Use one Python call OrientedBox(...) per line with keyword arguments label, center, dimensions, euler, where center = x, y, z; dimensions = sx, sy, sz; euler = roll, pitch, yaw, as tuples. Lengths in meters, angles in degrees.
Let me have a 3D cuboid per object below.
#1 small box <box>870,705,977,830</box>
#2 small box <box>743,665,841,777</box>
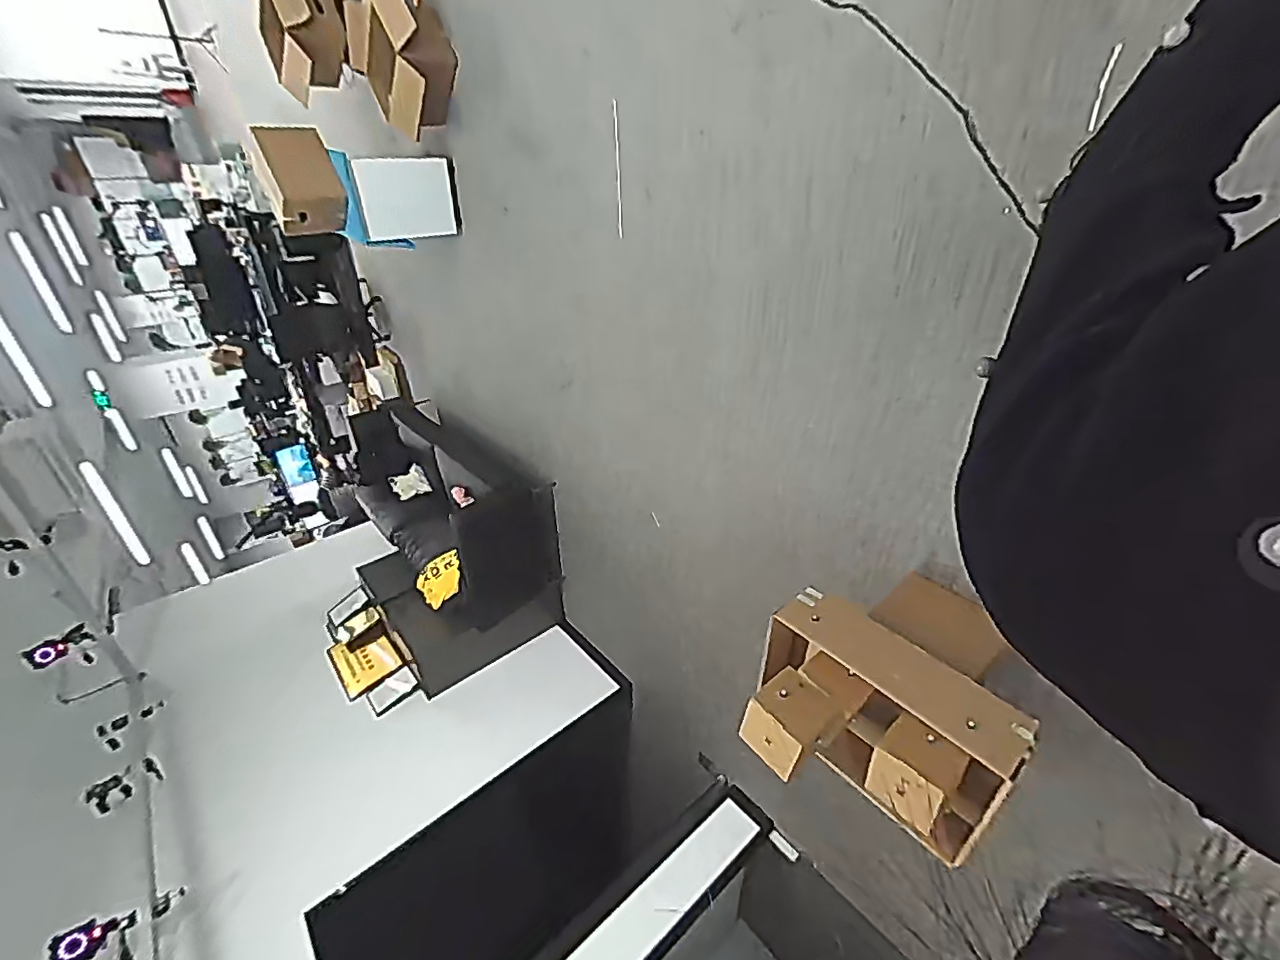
OrientedBox(label="small box", center=(0.703, 0.705, 1.341), dimensions=(0.168, 0.176, 0.179), euler=(28, 131, 43))
OrientedBox(label="small box", center=(0.400, 0.624, 1.418), dimensions=(0.168, 0.176, 0.179), euler=(37, 137, 37))
